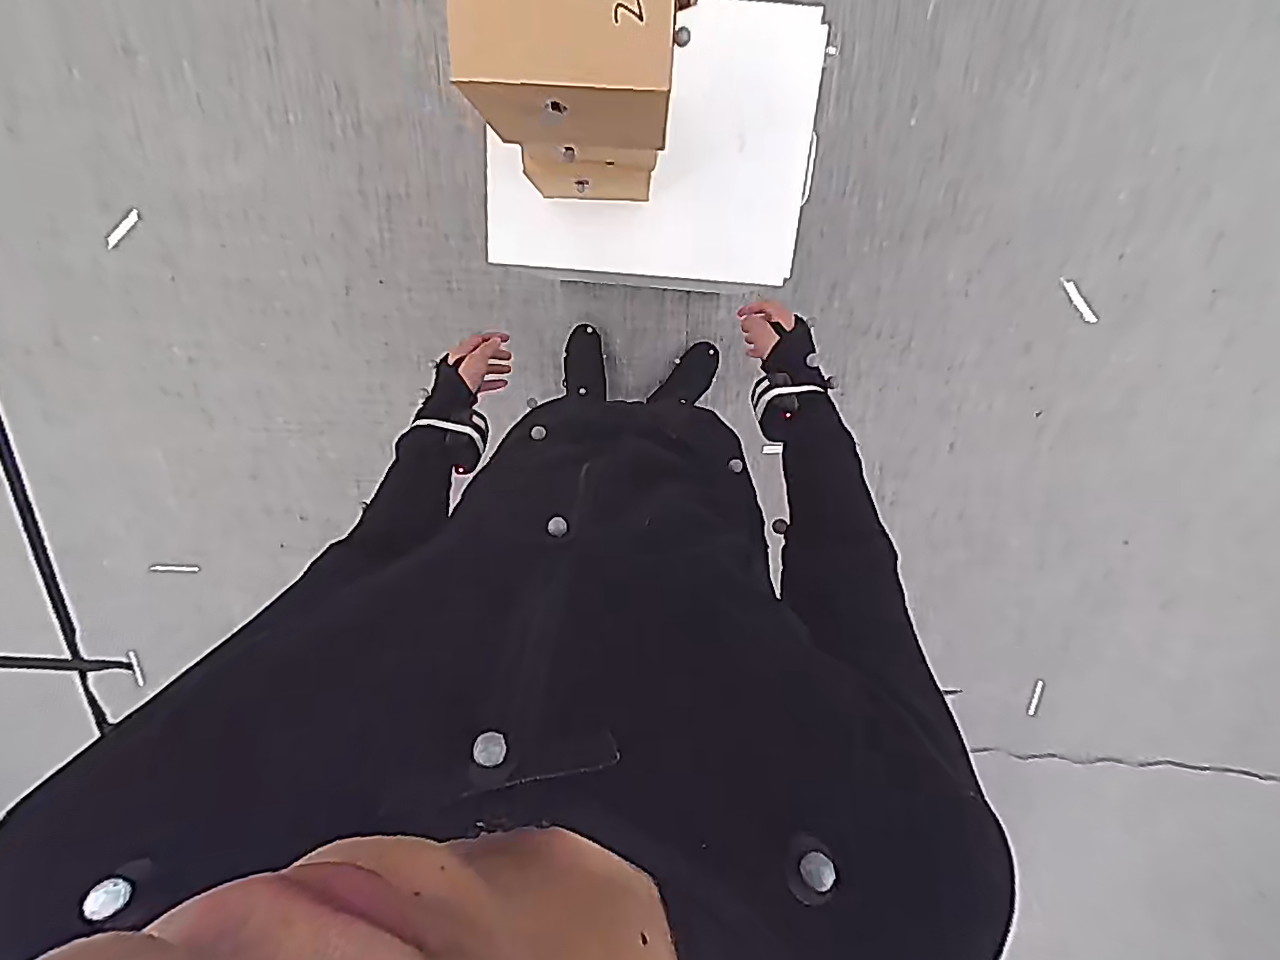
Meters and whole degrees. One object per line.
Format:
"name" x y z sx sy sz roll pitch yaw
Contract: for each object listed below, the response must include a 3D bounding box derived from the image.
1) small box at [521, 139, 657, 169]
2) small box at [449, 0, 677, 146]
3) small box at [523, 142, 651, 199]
"small box" -0.057 -0.480 0.629 0.168 0.176 0.179 3 107 -1
"small box" -0.056 -0.413 0.478 0.179 0.176 0.168 3 108 -1
"small box" -0.069 -0.517 0.788 0.179 0.176 0.168 2 108 -1
